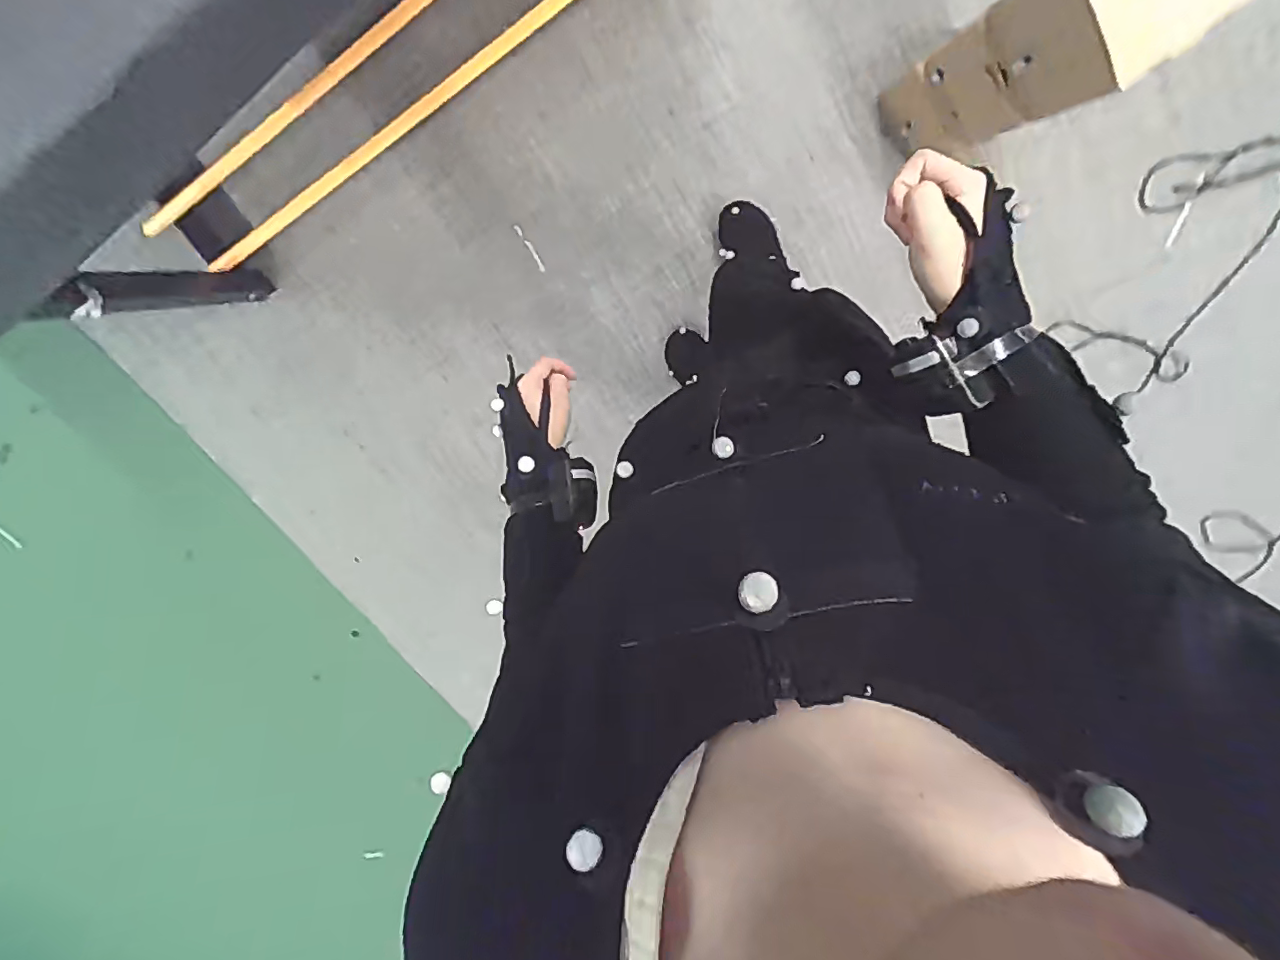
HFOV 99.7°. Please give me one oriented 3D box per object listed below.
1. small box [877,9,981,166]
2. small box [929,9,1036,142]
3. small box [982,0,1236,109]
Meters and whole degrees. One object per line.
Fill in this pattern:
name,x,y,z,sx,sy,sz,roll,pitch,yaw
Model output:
small box,0.582,-0.727,1.007,0.179,0.176,0.168,-36,106,14
small box,0.591,-0.675,0.851,0.179,0.176,0.168,-36,107,12
small box,0.593,-0.620,0.697,0.168,0.176,0.179,-35,107,12
